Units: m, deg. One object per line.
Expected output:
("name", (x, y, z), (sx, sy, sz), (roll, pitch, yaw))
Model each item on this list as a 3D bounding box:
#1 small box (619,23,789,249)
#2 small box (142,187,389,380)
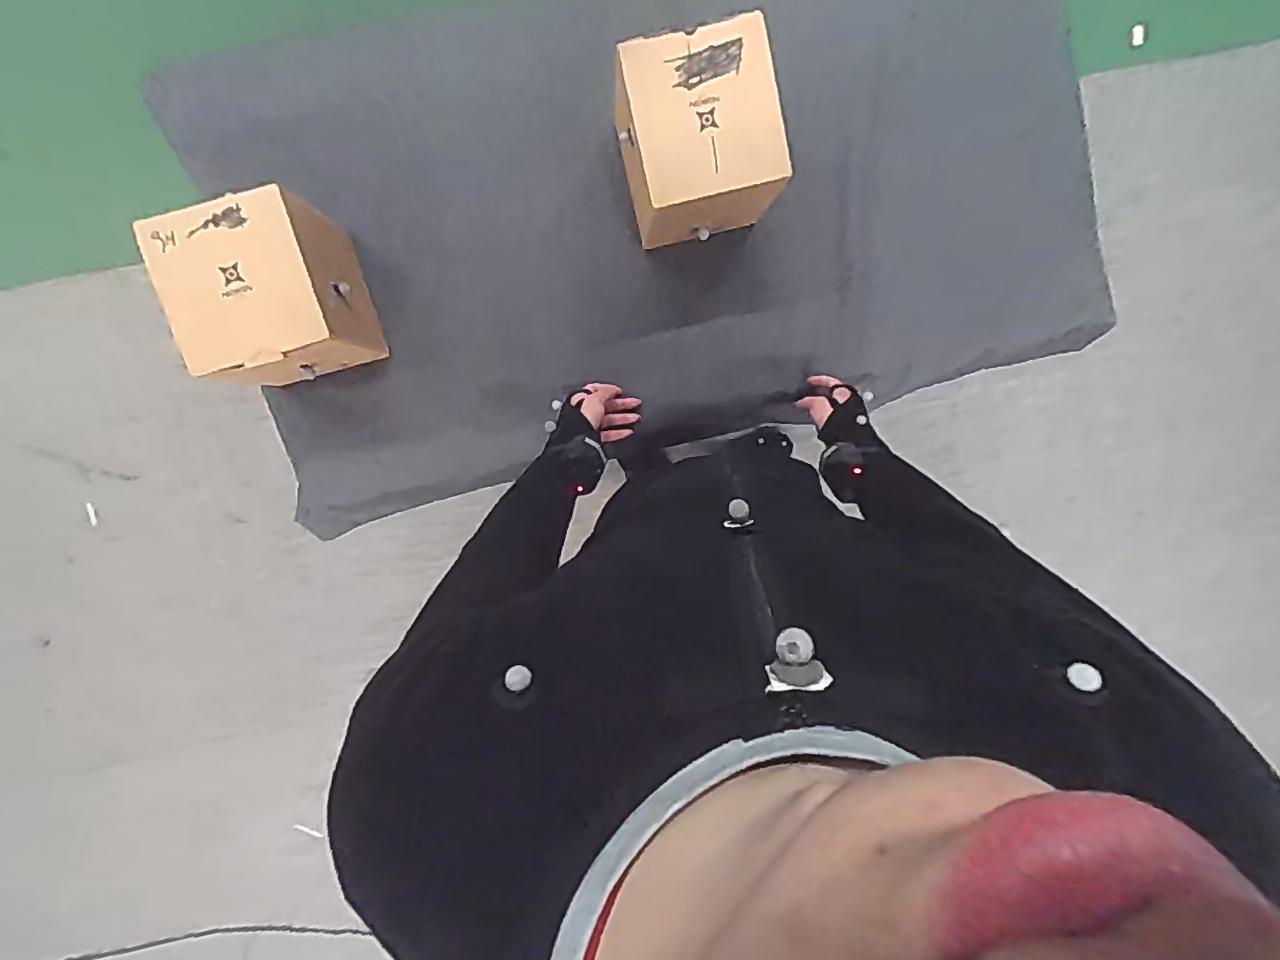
("small box", (0.071, -0.420, 0.690), (0.168, 0.176, 0.179), (-14, 100, -2))
("small box", (-0.448, -0.231, 0.683), (0.168, 0.176, 0.179), (-16, 99, -1))
